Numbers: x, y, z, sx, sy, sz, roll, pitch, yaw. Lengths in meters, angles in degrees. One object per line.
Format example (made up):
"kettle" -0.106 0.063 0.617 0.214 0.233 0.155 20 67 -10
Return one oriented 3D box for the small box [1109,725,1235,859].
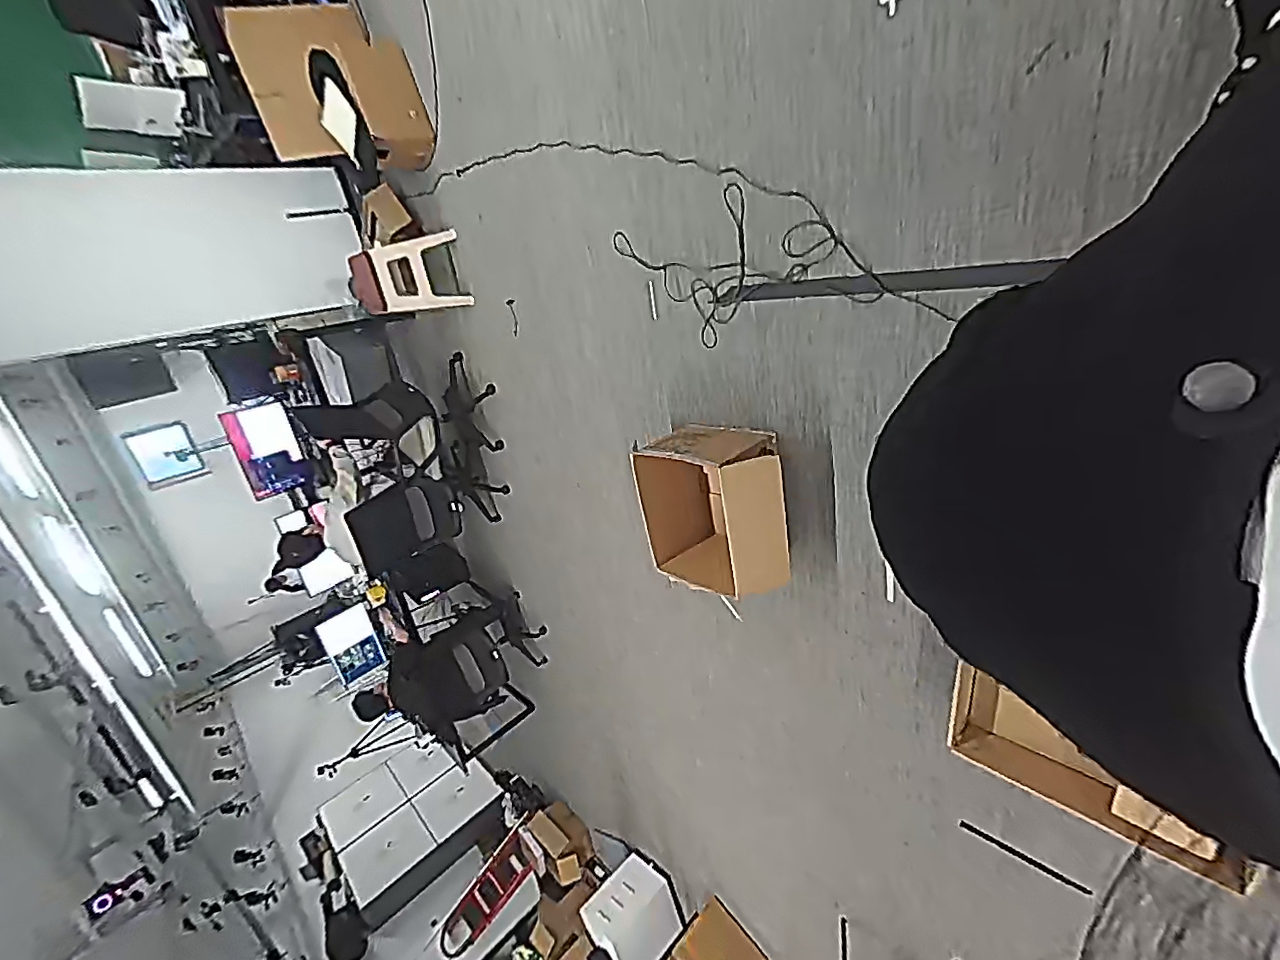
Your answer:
"small box" 1.237 0.713 1.258 0.179 0.176 0.168 17 122 46
